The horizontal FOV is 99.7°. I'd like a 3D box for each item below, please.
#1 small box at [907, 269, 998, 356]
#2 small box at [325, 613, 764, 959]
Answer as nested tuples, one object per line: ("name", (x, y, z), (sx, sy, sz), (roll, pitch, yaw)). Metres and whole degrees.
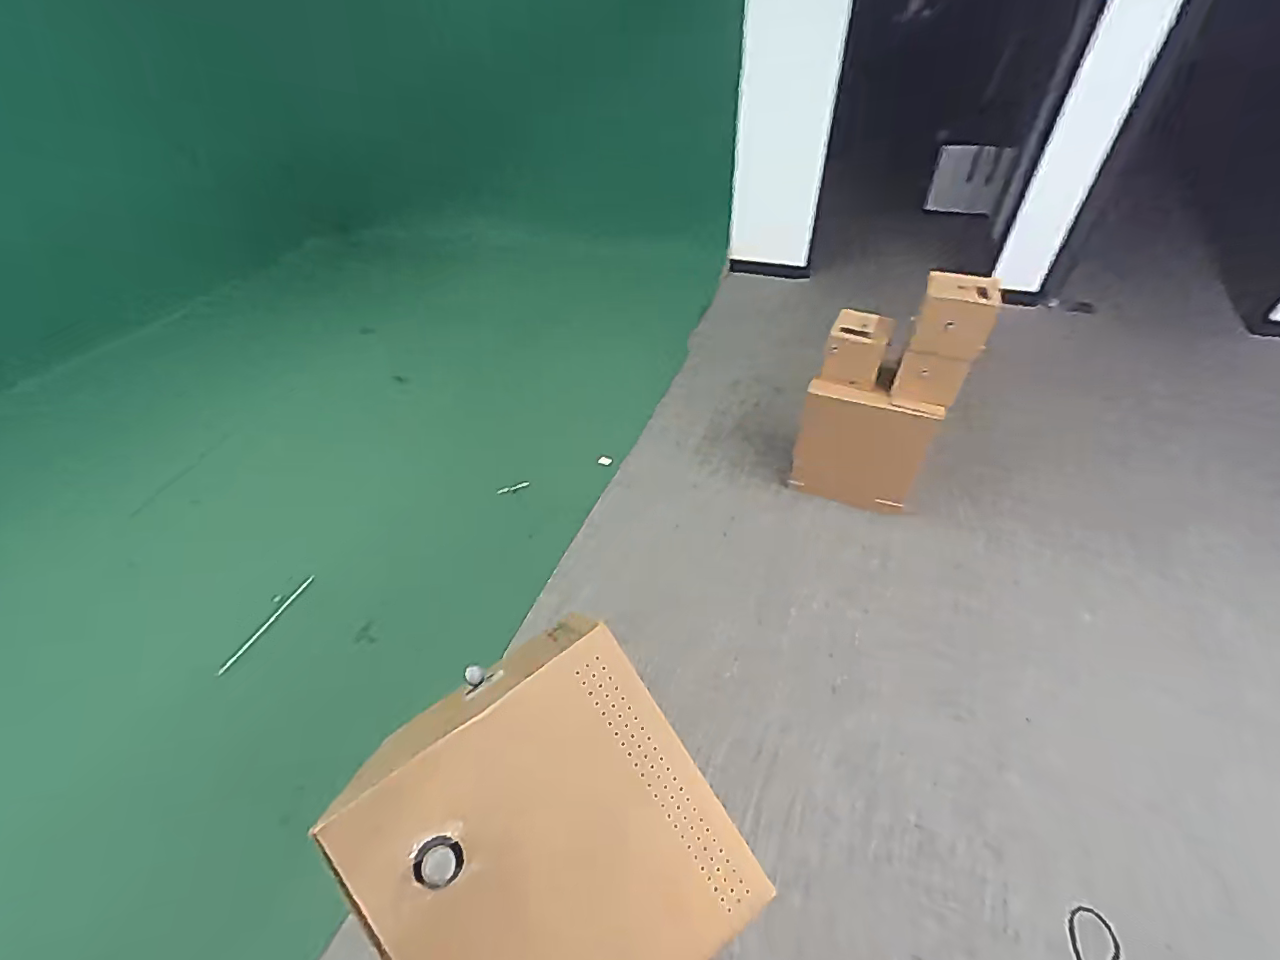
("small box", (0.879, -0.470, 1.526), (0.179, 0.176, 0.168), (15, 50, 19))
("small box", (-0.056, 0.205, 0.352), (0.176, 0.168, 0.179), (-33, 88, -16))
